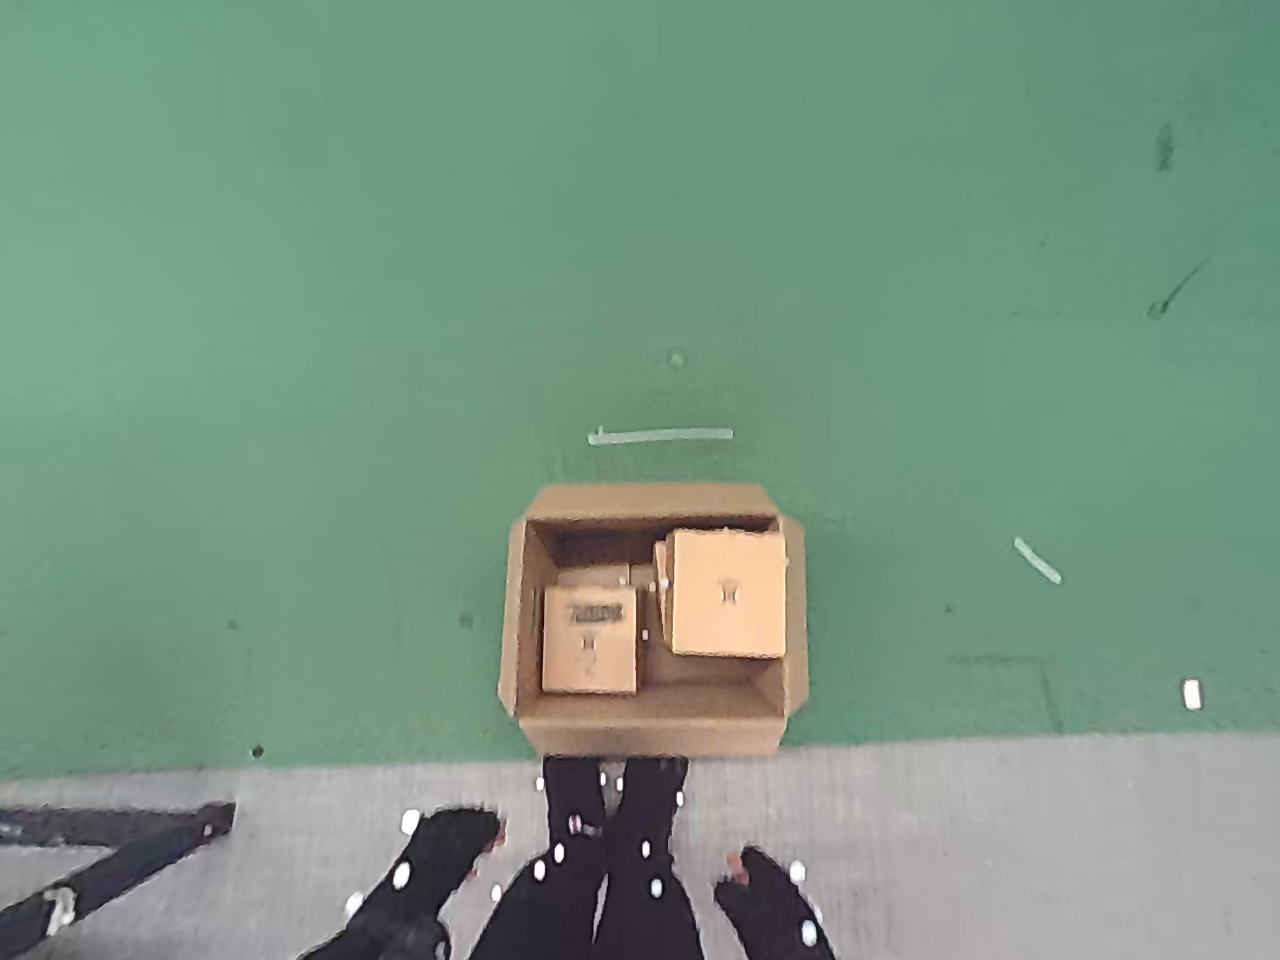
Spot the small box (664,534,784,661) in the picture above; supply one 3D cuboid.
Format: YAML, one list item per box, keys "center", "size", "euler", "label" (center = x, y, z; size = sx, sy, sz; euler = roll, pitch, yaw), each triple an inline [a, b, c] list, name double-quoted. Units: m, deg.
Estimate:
- center: [0.126, 0.183, 0.861]
  size: [0.168, 0.176, 0.179]
  euler: [2, 79, 0]
  label: "small box"
